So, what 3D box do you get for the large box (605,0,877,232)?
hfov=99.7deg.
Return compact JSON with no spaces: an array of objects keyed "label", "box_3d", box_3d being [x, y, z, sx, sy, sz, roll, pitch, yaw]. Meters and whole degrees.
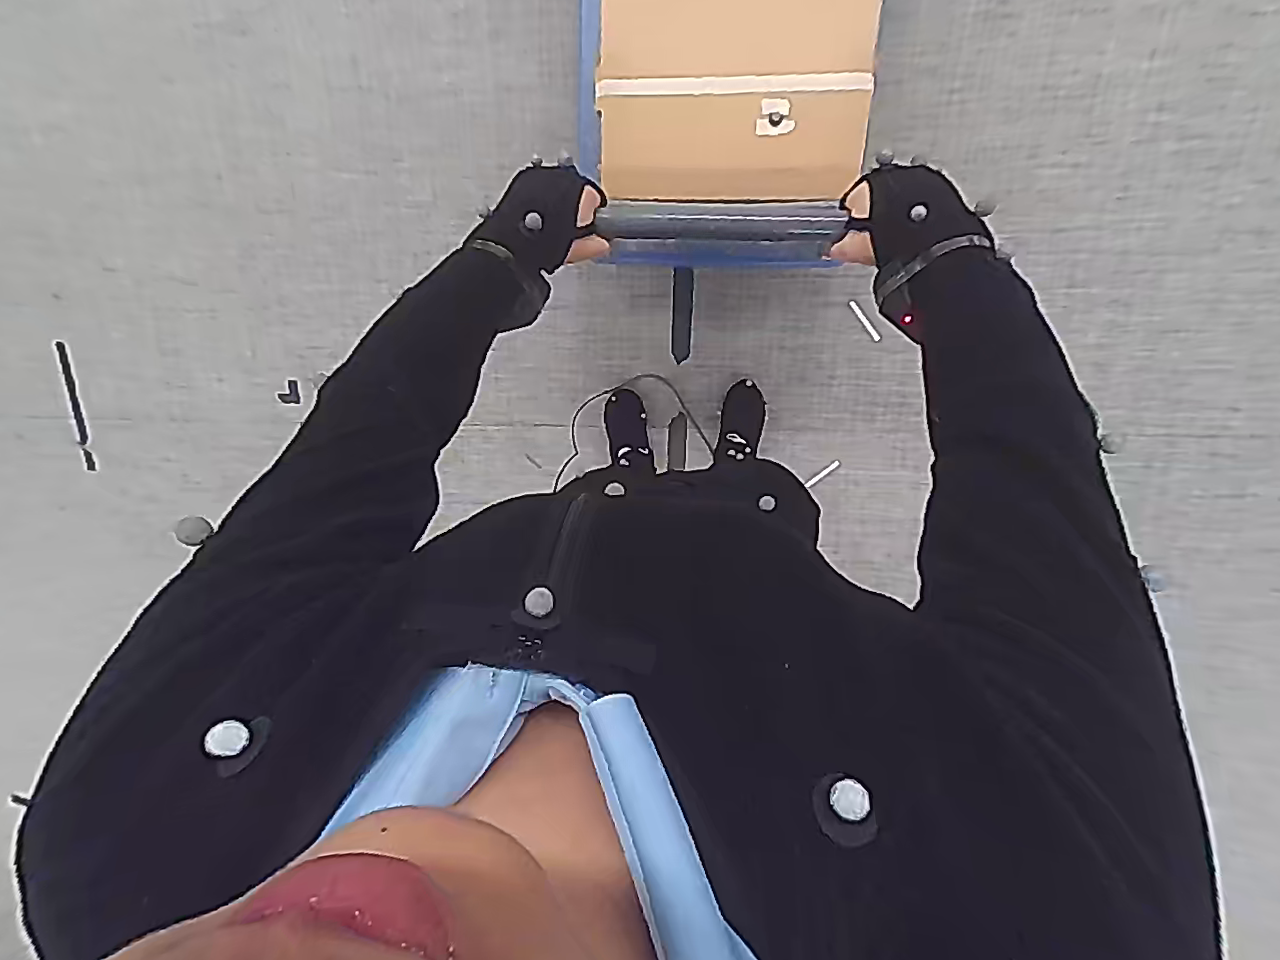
[{"label":"large box","box_3d":[0.158,-0.639,0.972,0.408,0.320,0.320,3,107,5]}]
